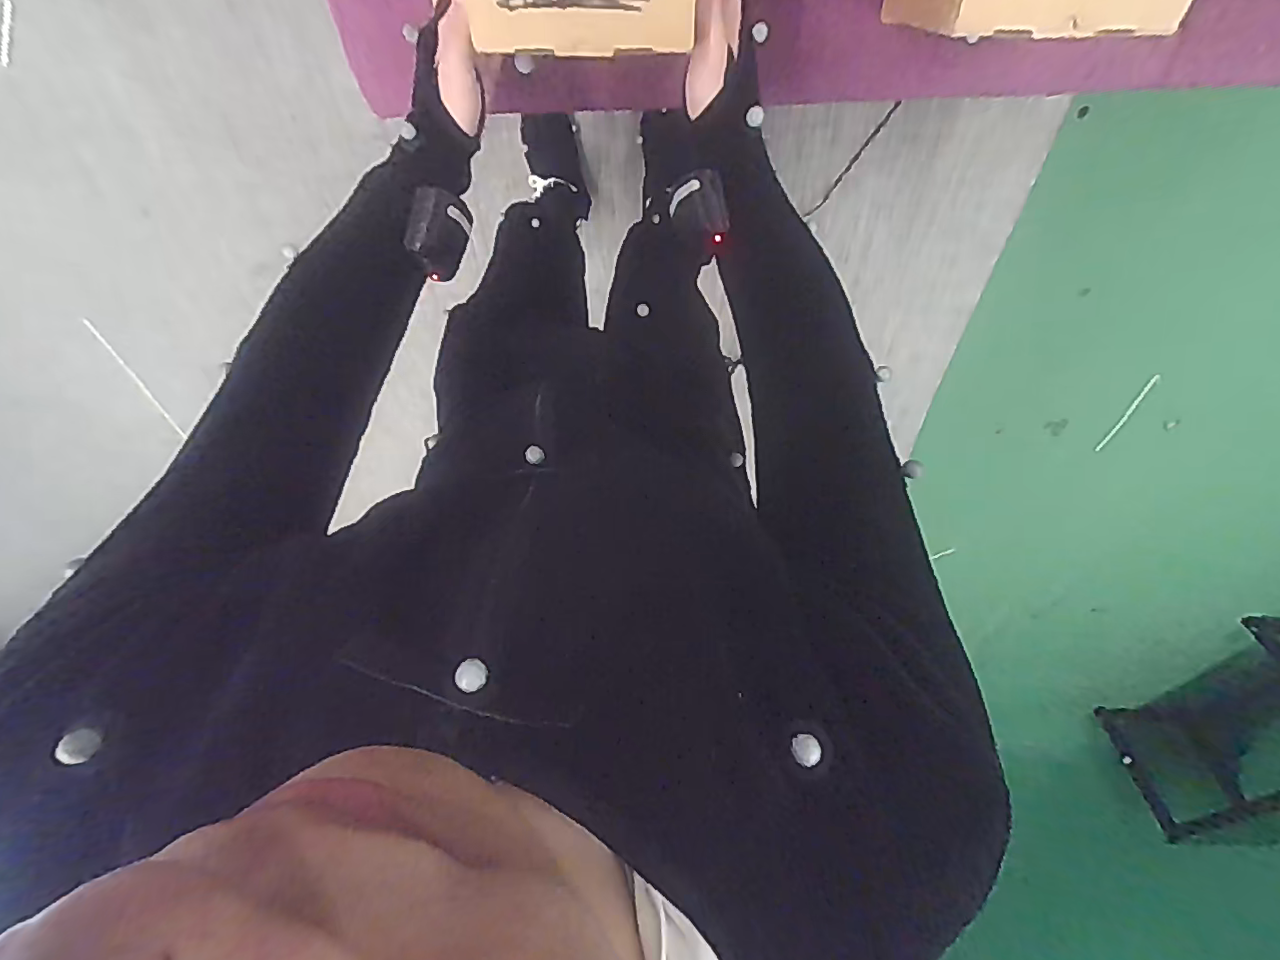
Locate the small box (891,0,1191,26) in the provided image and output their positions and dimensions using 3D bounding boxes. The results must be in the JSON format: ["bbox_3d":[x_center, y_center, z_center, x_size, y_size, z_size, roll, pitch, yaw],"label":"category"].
[{"bbox_3d":[0.301,-0.442,0.383,0.168,0.176,0.179,0,134,0],"label":"small box"}]
